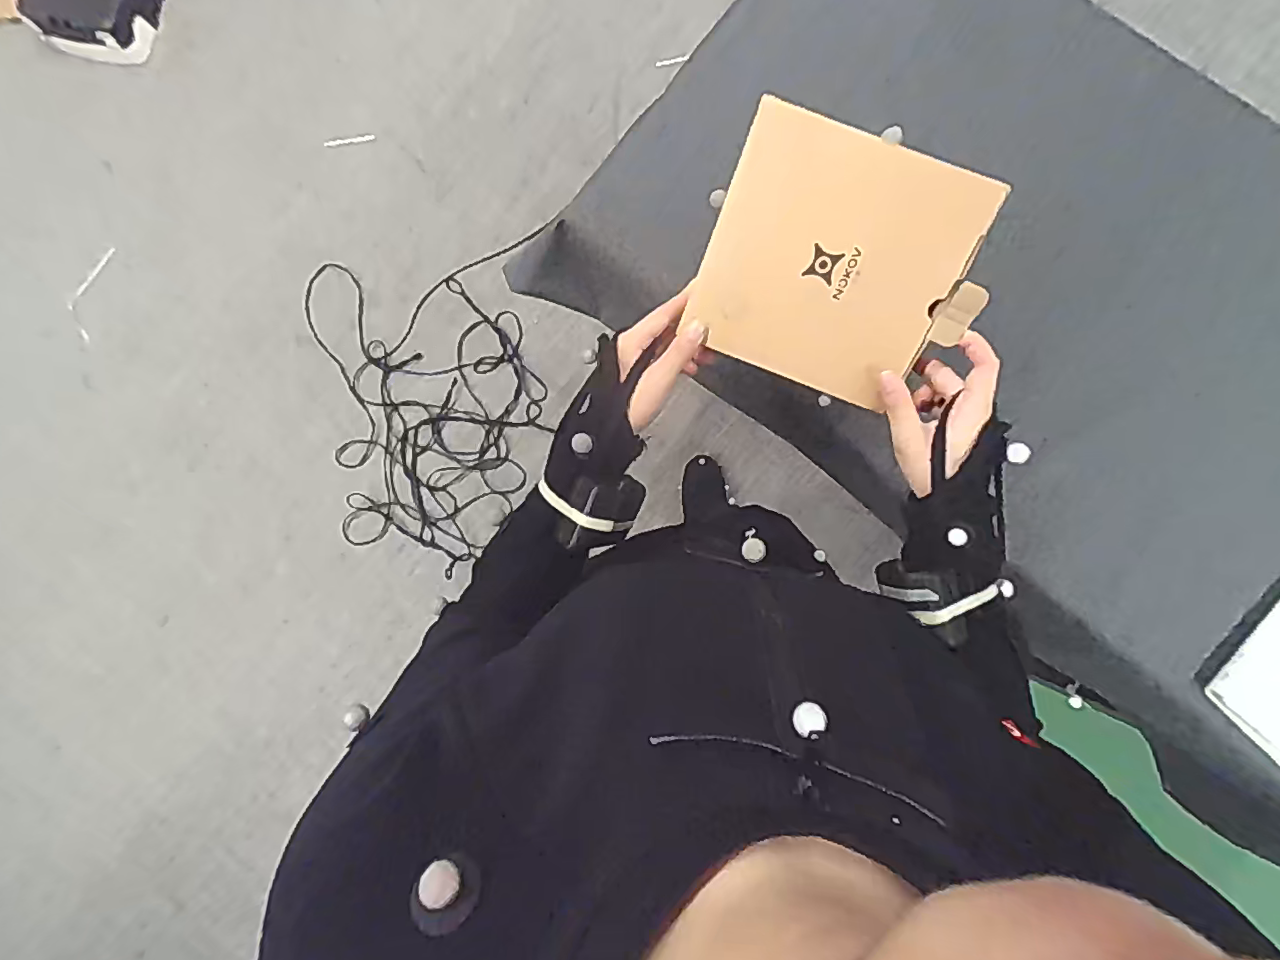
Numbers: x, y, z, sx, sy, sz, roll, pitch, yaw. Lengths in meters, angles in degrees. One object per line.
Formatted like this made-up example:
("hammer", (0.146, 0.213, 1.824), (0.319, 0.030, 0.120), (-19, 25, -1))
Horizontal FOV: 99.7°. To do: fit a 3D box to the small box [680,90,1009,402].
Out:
("small box", (0.147, -0.184, 0.458), (0.179, 0.176, 0.168), (20, 112, 1))
